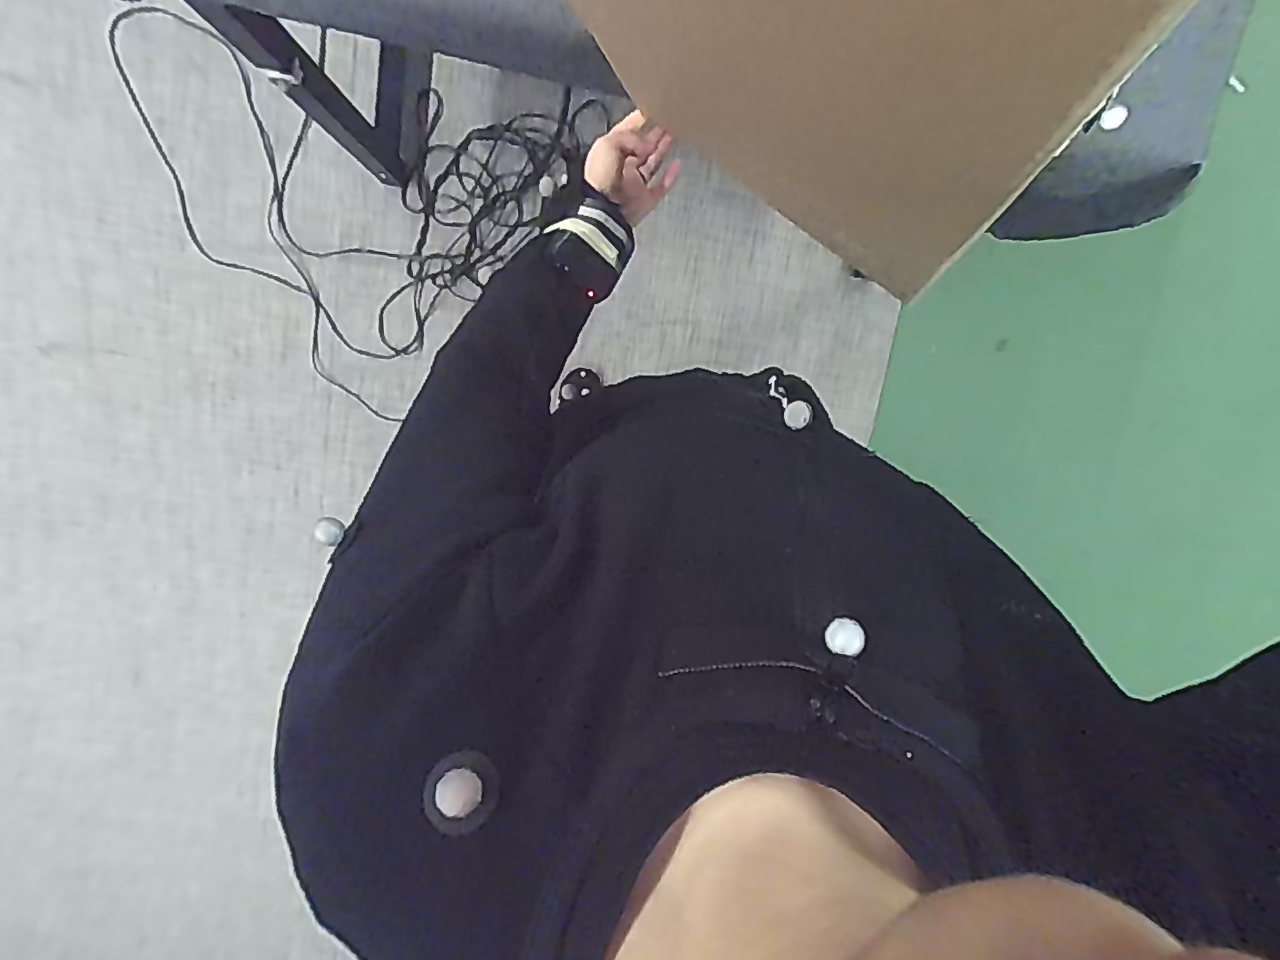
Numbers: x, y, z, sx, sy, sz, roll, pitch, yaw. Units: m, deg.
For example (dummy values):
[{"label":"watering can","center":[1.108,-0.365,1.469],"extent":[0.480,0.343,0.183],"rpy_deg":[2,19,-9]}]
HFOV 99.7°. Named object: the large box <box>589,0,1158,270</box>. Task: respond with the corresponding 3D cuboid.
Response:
[{"label":"large box","center":[0.142,-0.354,0.258],"extent":[0.320,0.408,0.320],"rpy_deg":[40,109,8]}]
